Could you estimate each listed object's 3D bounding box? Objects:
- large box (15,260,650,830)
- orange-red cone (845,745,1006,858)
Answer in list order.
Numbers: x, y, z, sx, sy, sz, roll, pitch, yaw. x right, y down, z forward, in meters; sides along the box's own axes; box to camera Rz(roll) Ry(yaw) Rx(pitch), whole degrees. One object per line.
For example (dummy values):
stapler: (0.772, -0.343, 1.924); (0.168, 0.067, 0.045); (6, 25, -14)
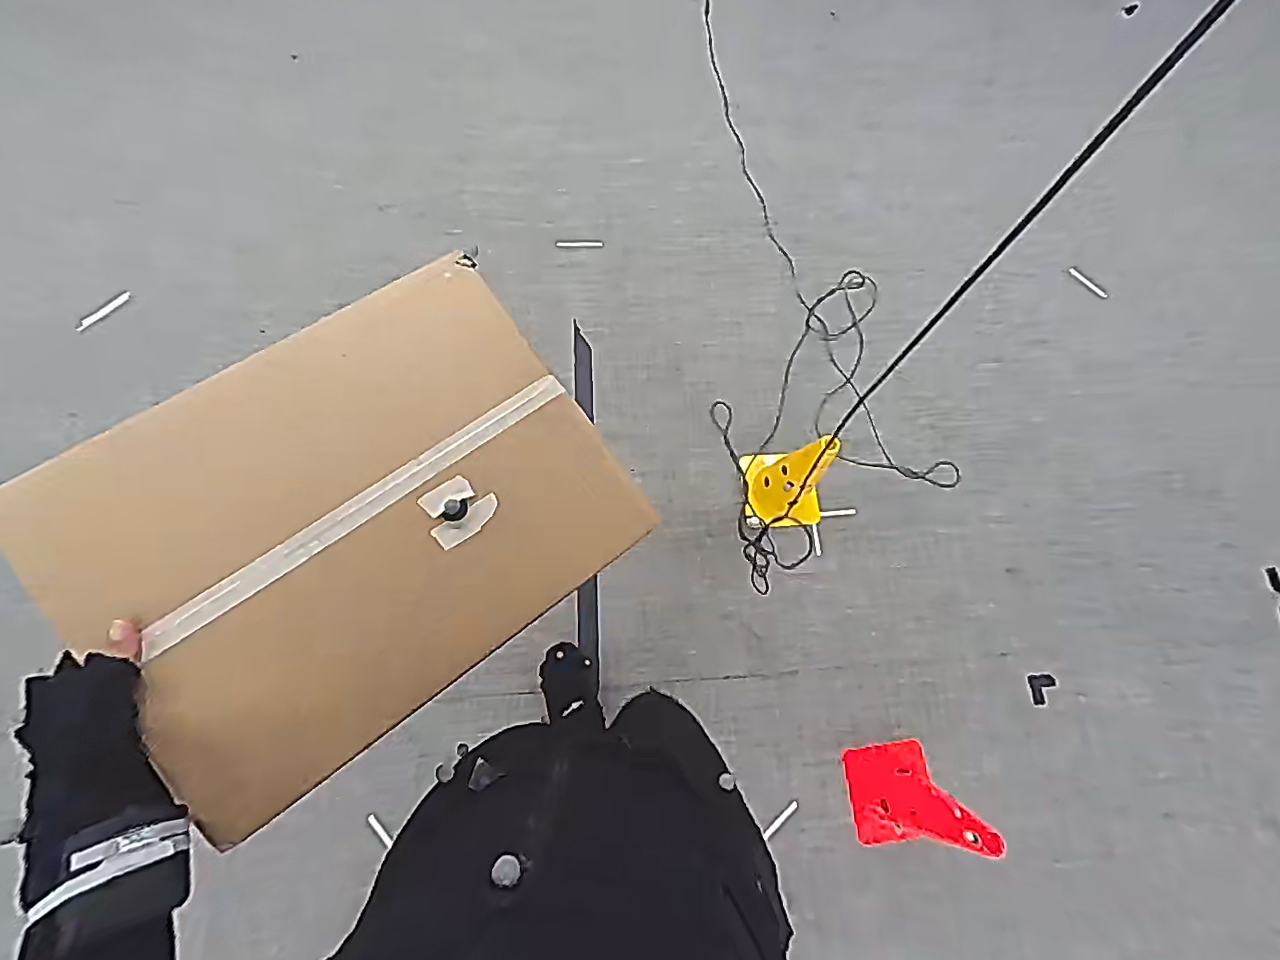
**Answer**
large box: (-0.259, 0.054, 0.593); (0.408, 0.320, 0.320); (-36, 88, -16)
orange-red cone: (0.592, 0.675, 1.085); (0.198, 0.360, 0.199); (-4, 72, -6)
